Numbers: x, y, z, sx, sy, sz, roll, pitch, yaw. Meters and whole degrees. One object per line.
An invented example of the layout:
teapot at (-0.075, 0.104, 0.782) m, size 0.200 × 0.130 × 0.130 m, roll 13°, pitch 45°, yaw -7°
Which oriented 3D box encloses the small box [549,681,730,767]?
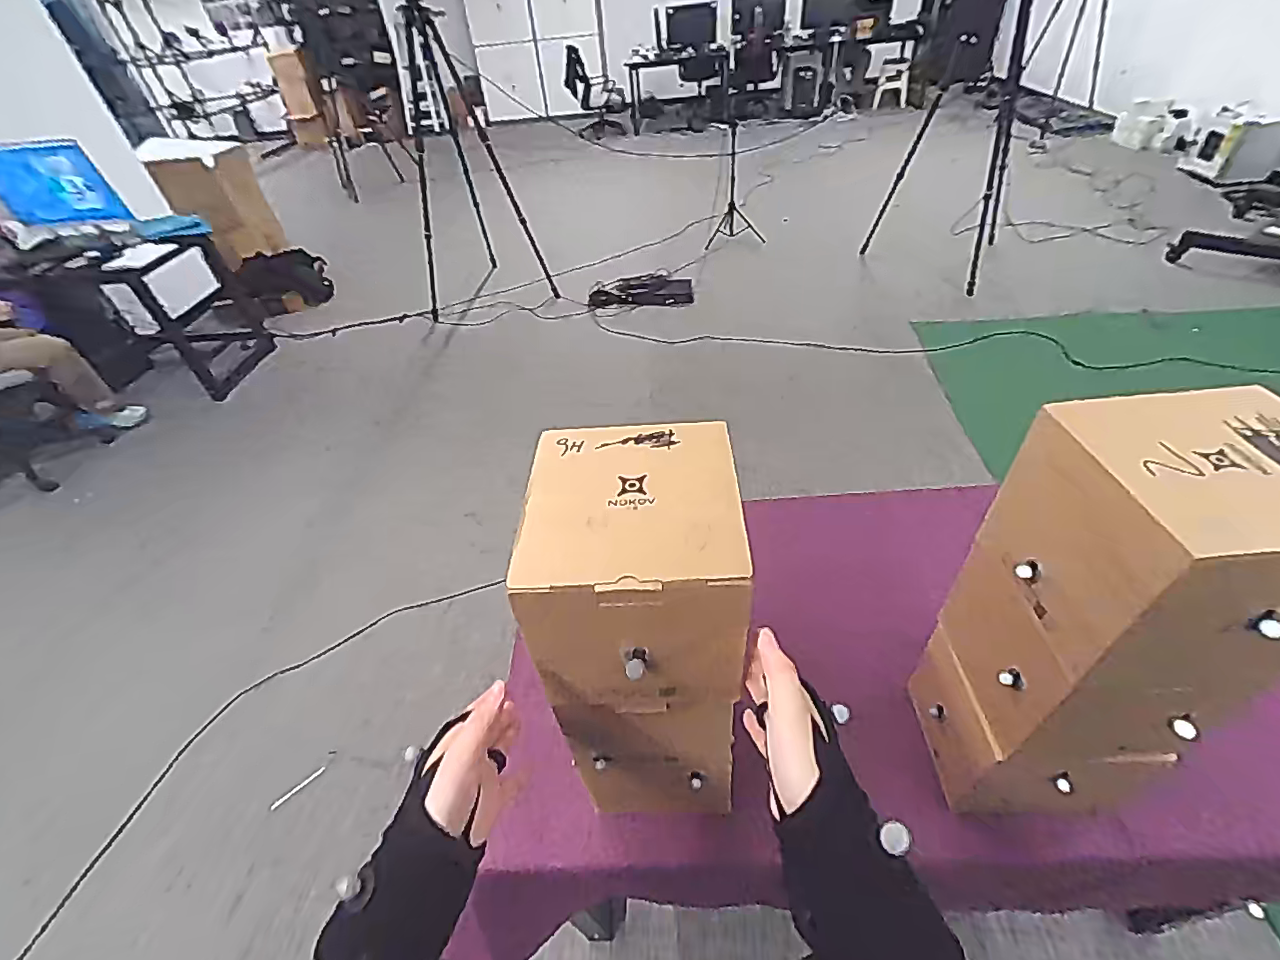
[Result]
small box at (0.007, 0.194, 0.586) m, size 0.168 × 0.176 × 0.179 m, roll -2°, pitch 41°, yaw 3°

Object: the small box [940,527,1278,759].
small box at (0.444, 0.171, 0.556) m, size 0.168 × 0.176 × 0.179 m, roll -3°, pitch 42°, yaw 3°

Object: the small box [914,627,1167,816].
small box at (0.457, 0.294, 0.662) m, size 0.179 × 0.176 × 0.168 m, roll -2°, pitch 43°, yaw 5°

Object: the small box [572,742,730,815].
small box at (0.019, 0.315, 0.696) m, size 0.179 × 0.176 × 0.168 m, roll -3°, pitch 43°, yaw 3°

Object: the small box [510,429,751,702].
small box at (0.001, 0.077, 0.470) m, size 0.168 × 0.176 × 0.179 m, roll -2°, pitch 43°, yaw 3°
